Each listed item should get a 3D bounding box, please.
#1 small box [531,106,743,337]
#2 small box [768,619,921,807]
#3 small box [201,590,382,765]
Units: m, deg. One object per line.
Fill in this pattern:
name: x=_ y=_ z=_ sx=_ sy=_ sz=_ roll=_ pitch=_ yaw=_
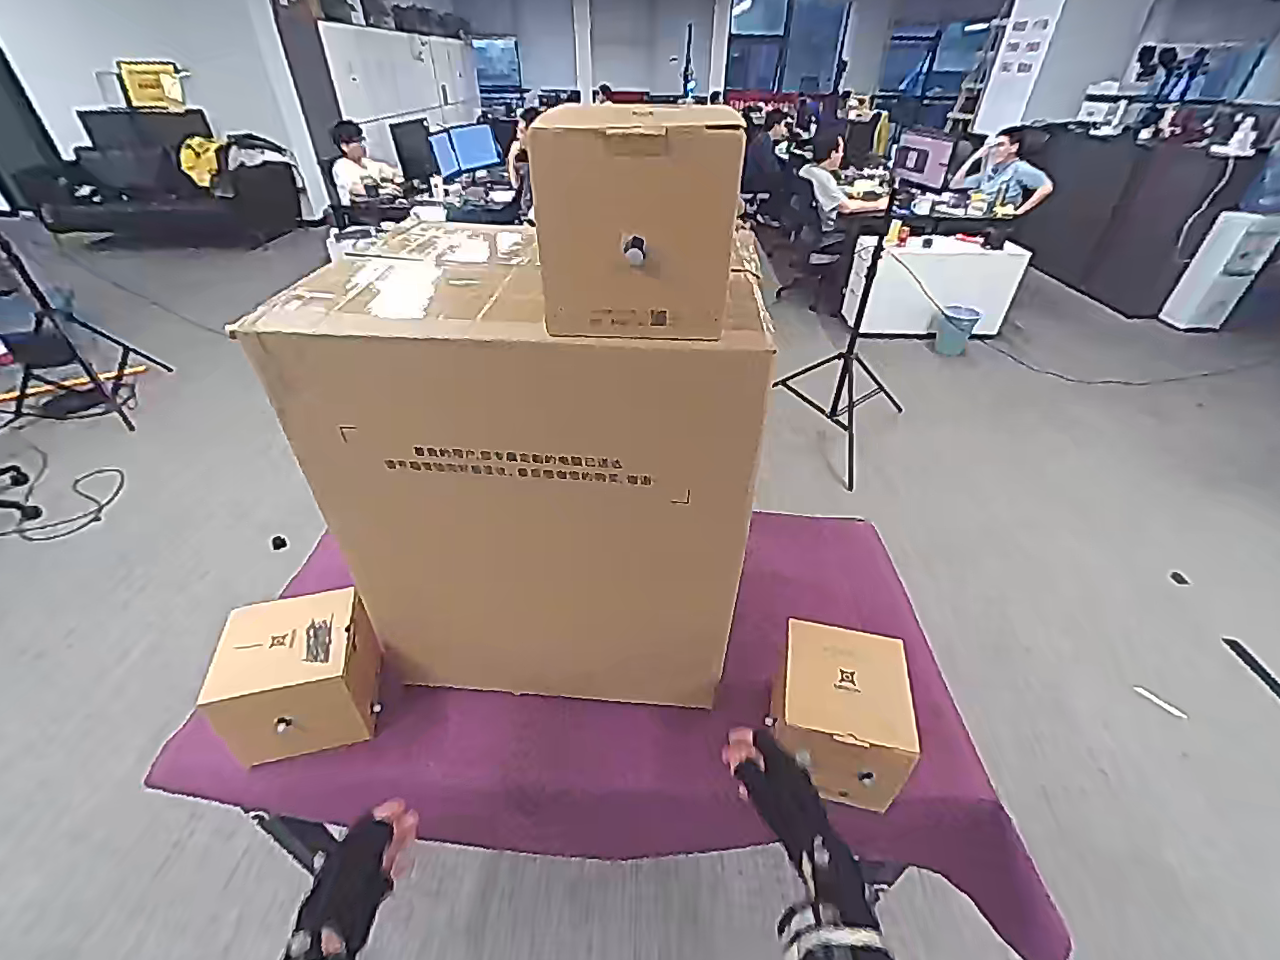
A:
small box: x=0.003 y=-0.249 z=0.521 sx=0.168 sy=0.176 sz=0.179 roll=2 pitch=39 yaw=2
small box: x=0.284 y=0.337 z=0.786 sx=0.168 sy=0.176 sz=0.179 roll=9 pitch=36 yaw=10
small box: x=-0.504 y=0.296 z=0.819 sx=0.179 sy=0.176 sz=0.168 roll=-8 pitch=38 yaw=-14
